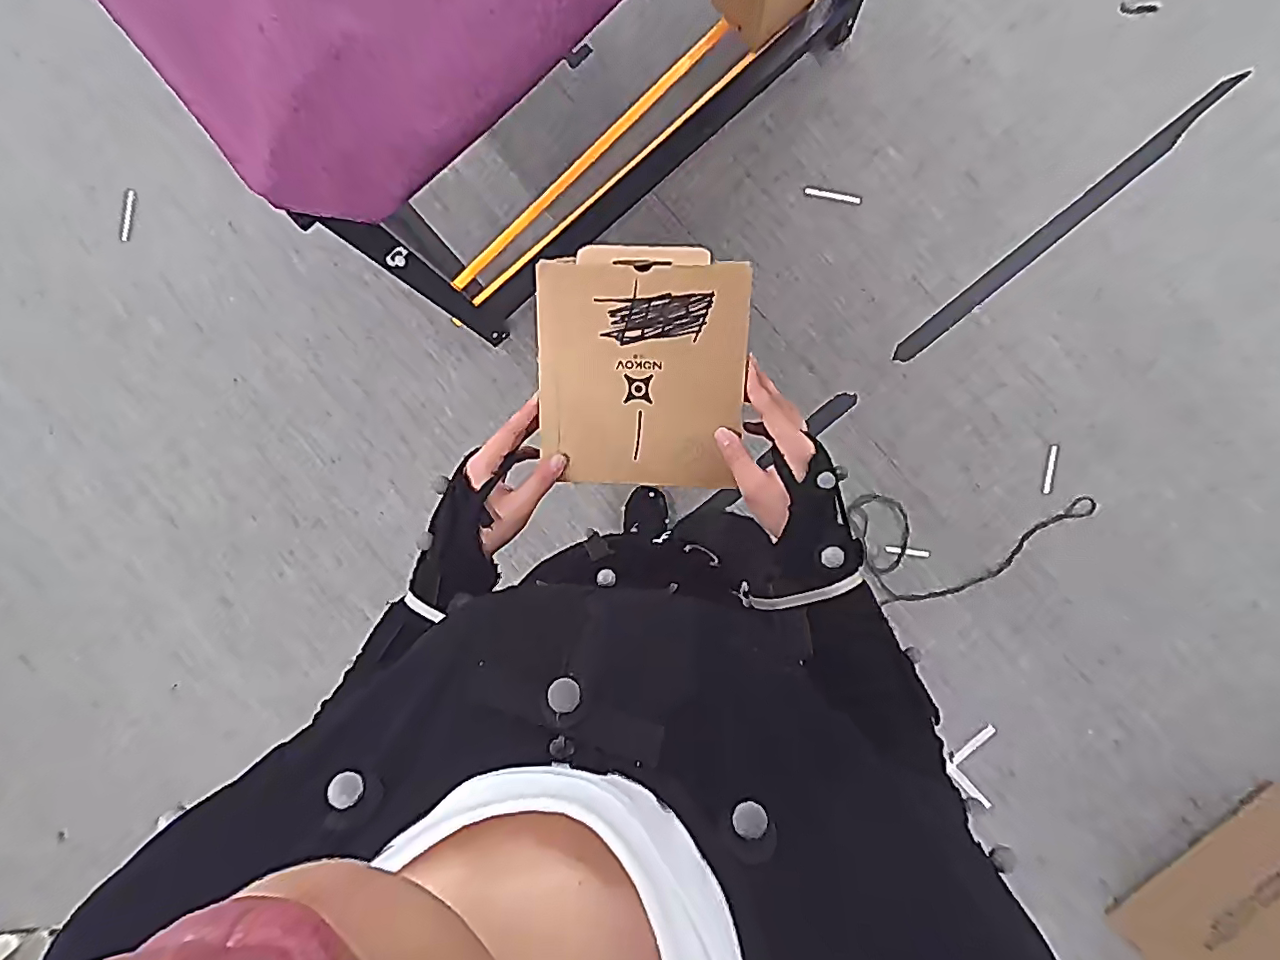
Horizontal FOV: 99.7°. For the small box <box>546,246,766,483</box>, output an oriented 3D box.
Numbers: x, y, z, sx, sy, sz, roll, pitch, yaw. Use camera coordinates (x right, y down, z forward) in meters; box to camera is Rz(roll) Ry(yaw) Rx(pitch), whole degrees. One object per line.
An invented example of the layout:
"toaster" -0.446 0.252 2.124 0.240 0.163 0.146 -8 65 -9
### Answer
"small box" 0.014 -0.102 0.495 0.168 0.176 0.179 3 102 5
